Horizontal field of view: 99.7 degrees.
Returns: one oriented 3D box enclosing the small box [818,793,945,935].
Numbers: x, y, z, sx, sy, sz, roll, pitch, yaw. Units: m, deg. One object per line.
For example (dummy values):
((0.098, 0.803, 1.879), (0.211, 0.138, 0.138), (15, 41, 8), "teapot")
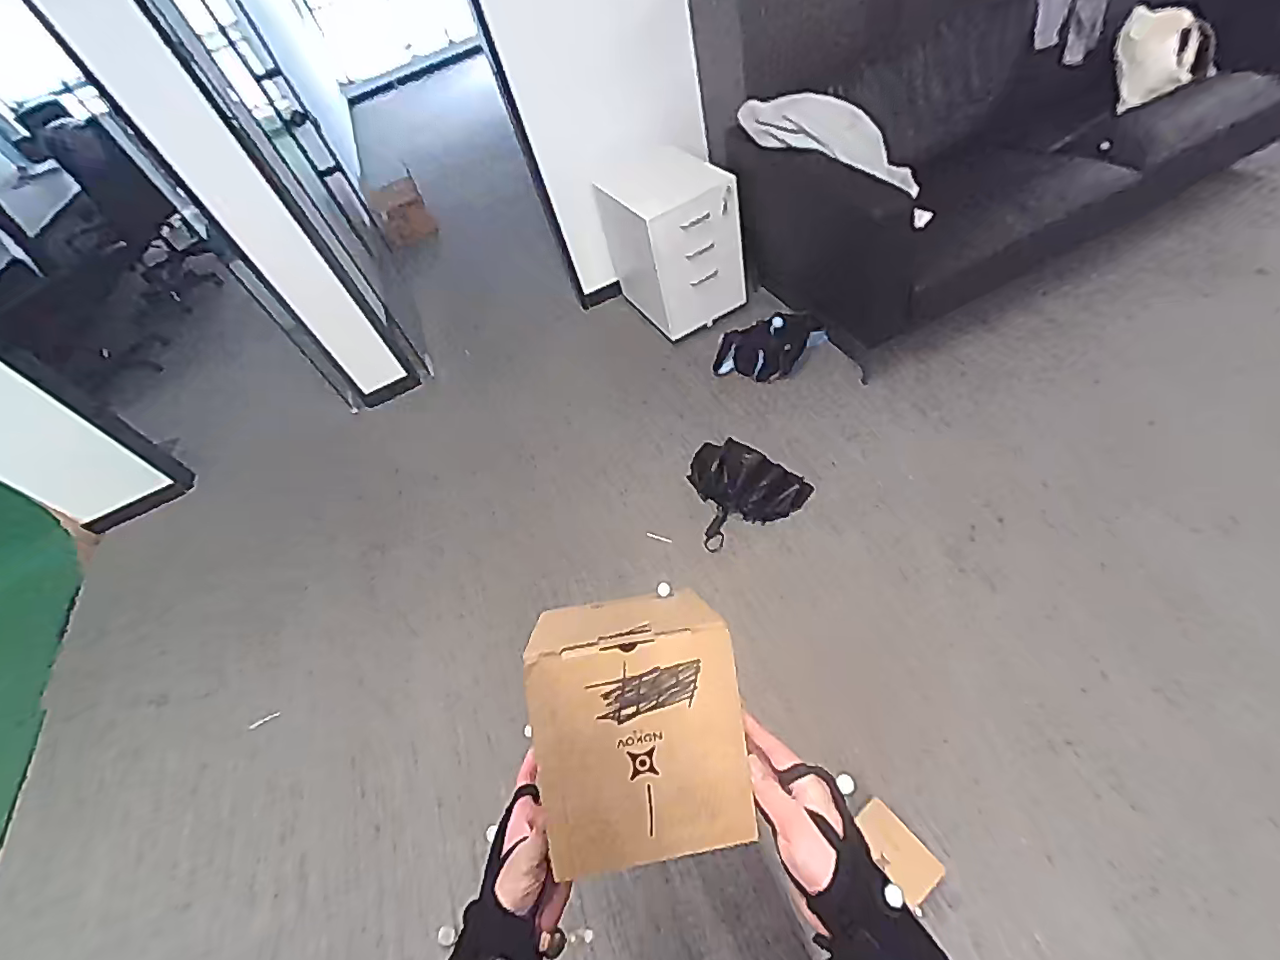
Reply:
((0.492, 0.797, 1.123), (0.179, 0.176, 0.168), (-37, 52, -14), "small box")
